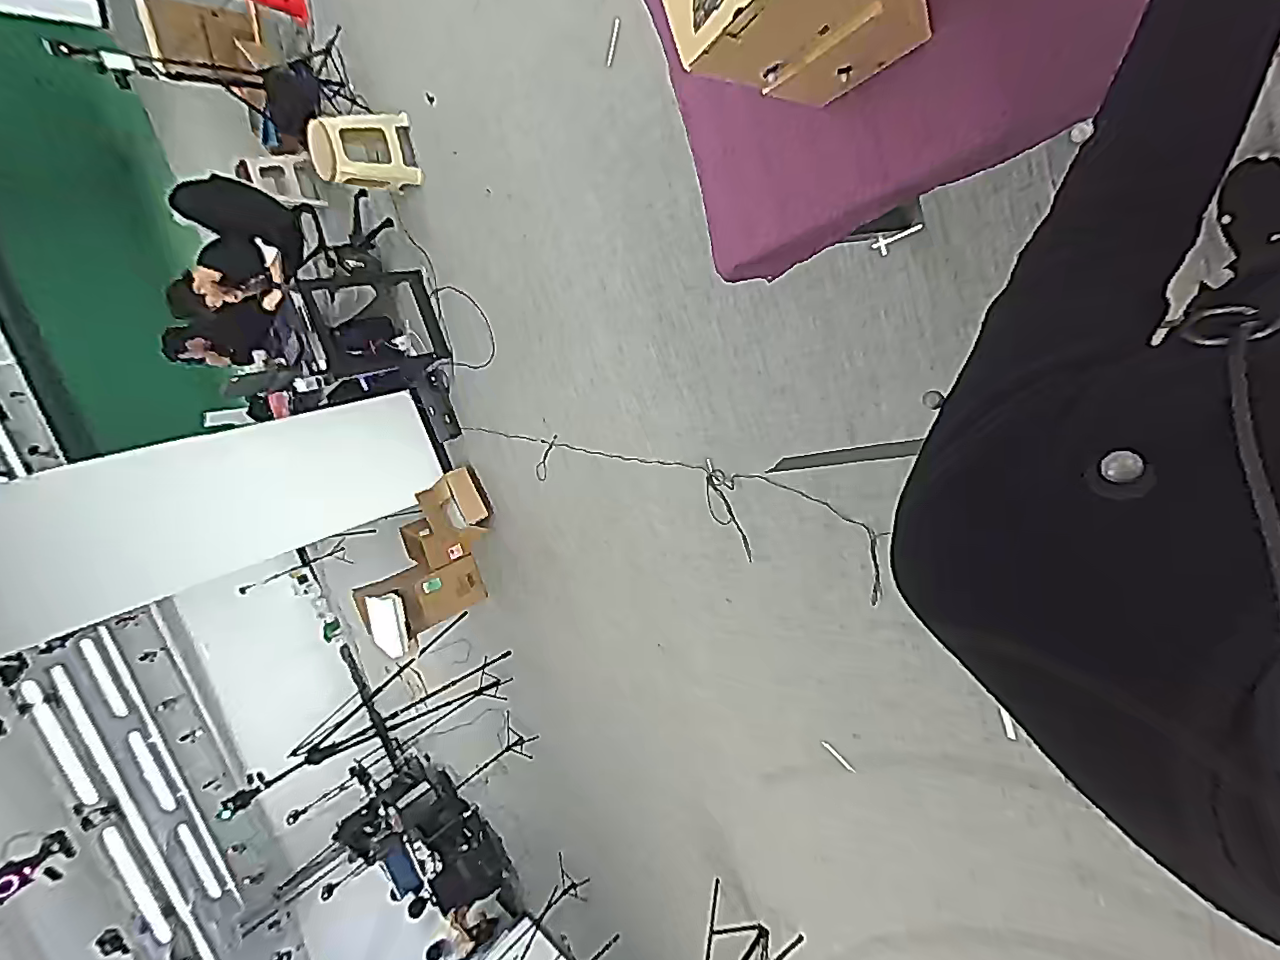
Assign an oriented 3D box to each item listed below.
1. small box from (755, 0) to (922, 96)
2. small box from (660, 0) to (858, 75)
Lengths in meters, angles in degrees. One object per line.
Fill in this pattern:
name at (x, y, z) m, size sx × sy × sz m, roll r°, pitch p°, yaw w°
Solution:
small box at (0.249, -0.640, 0.711) m, size 0.168 × 0.176 × 0.179 m, roll -4°, pitch 107°, yaw 48°
small box at (0.129, -0.595, 0.608) m, size 0.168 × 0.176 × 0.179 m, roll -10°, pitch 101°, yaw 49°
